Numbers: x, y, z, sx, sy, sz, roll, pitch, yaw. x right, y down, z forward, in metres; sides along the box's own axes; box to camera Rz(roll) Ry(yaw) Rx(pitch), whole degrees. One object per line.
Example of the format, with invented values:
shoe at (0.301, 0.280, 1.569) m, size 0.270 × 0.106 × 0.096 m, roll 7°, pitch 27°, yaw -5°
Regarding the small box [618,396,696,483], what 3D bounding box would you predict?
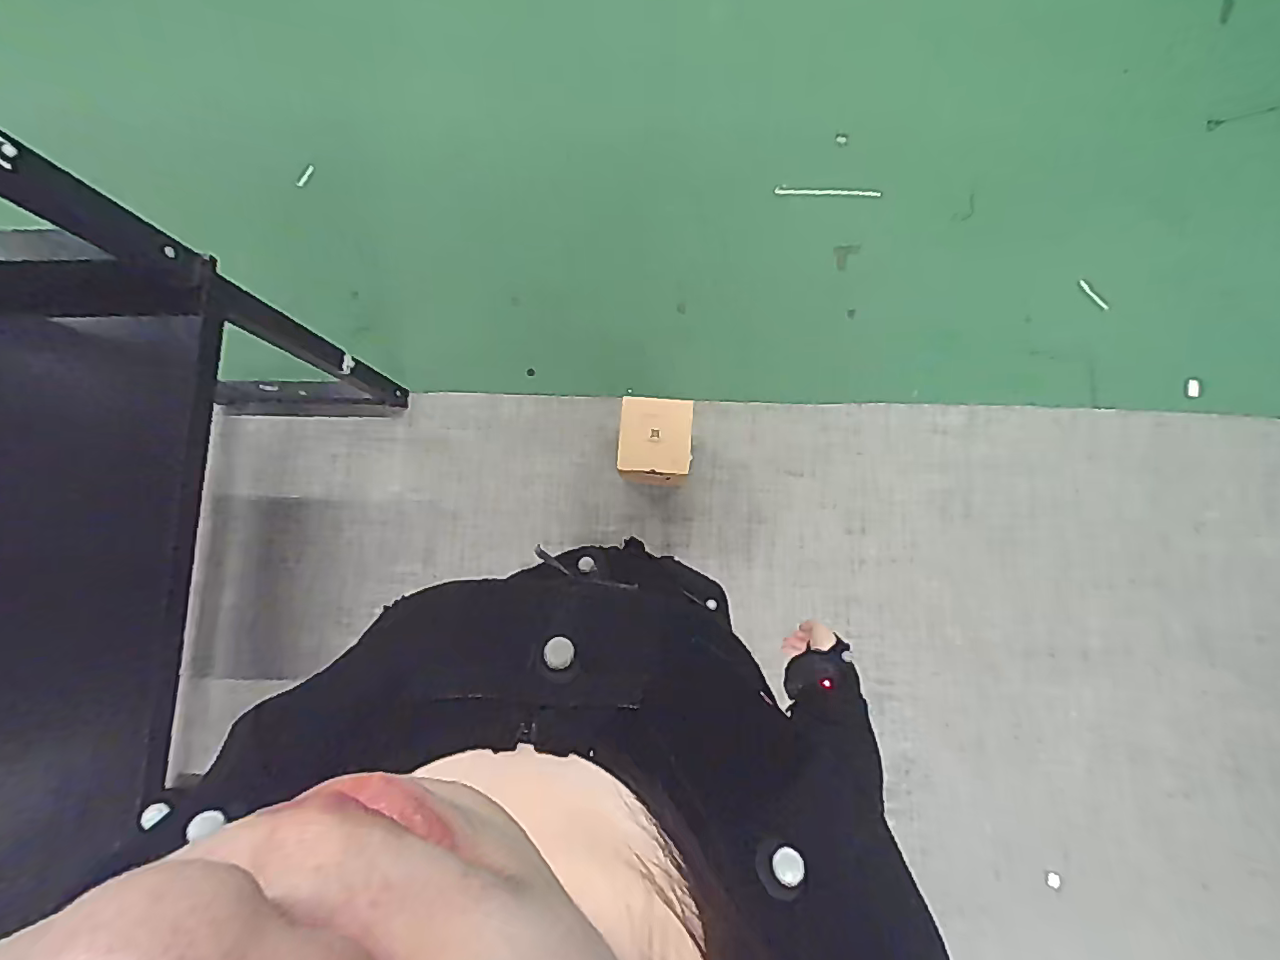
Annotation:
small box at (0.041, -0.090, 1.293) m, size 0.168 × 0.176 × 0.179 m, roll 4°, pitch 83°, yaw 1°
